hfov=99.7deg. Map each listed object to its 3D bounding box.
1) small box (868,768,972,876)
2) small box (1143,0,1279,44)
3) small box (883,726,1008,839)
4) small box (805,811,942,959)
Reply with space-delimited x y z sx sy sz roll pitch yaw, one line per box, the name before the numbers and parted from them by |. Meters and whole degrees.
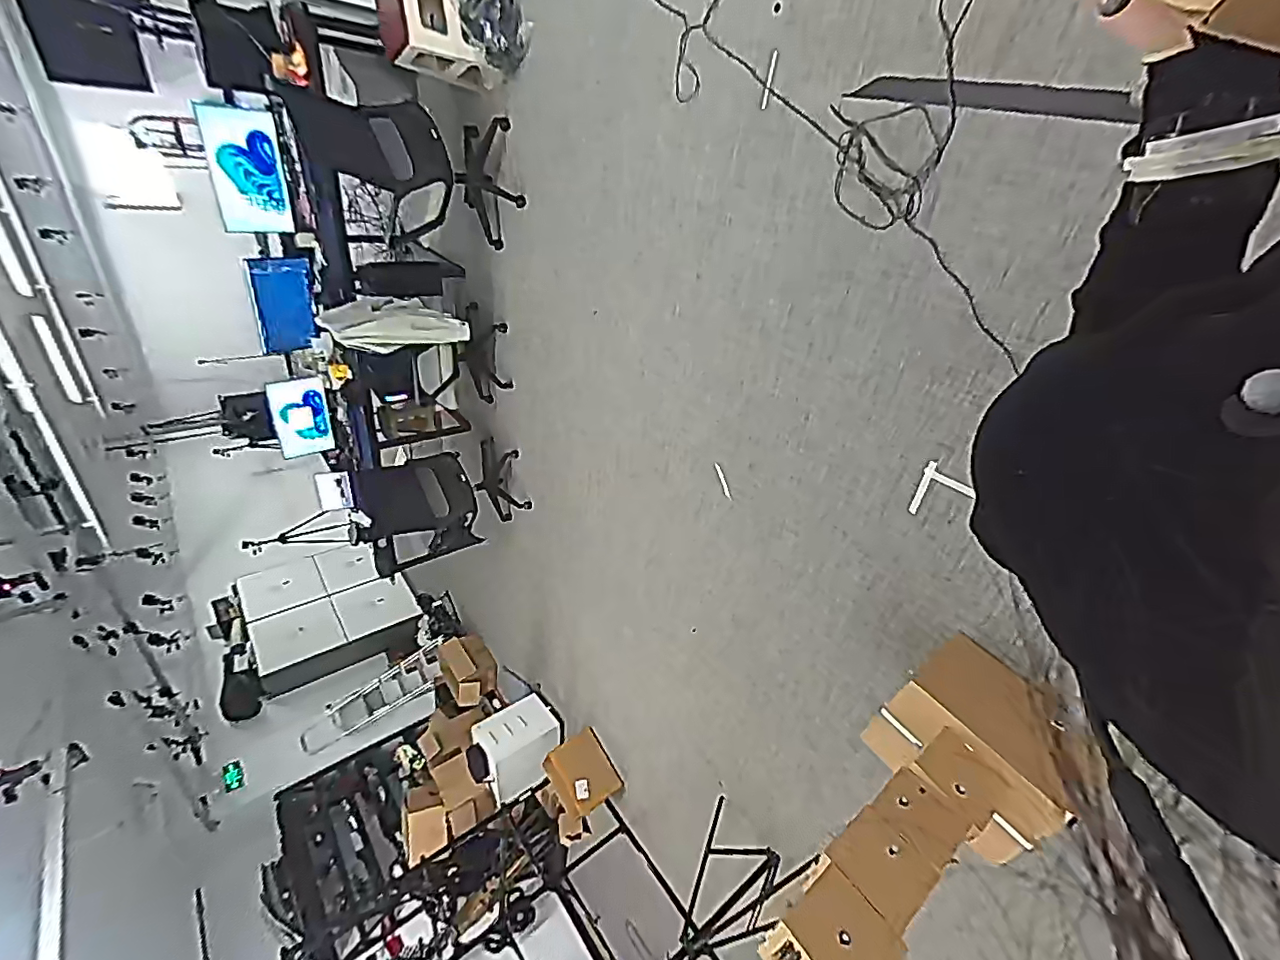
small box | 0.616 0.799 1.222 0.168 0.176 0.179 32 130 43
small box | 0.257 -0.304 0.200 0.168 0.176 0.179 58 150 22
small box | 0.740 0.742 1.310 0.179 0.176 0.168 46 137 32
small box | 0.485 0.835 1.130 0.179 0.176 0.168 38 133 39
